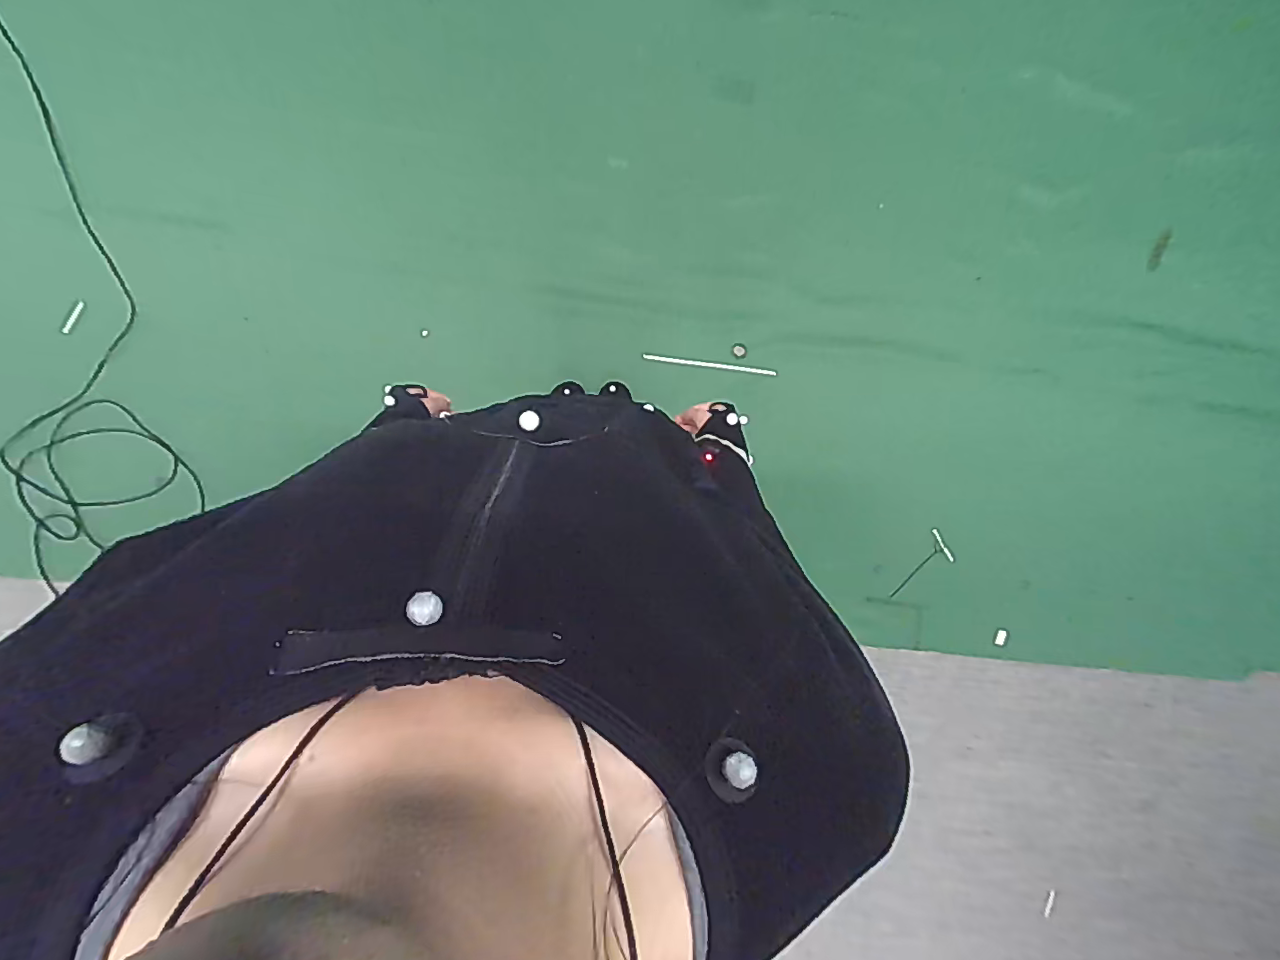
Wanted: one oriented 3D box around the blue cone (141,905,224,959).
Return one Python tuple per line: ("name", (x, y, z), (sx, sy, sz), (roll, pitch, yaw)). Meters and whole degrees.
("blue cone", (-1.359, 1.413, 1.462), (0.193, 0.380, 0.192), (-37, 102, 4))
